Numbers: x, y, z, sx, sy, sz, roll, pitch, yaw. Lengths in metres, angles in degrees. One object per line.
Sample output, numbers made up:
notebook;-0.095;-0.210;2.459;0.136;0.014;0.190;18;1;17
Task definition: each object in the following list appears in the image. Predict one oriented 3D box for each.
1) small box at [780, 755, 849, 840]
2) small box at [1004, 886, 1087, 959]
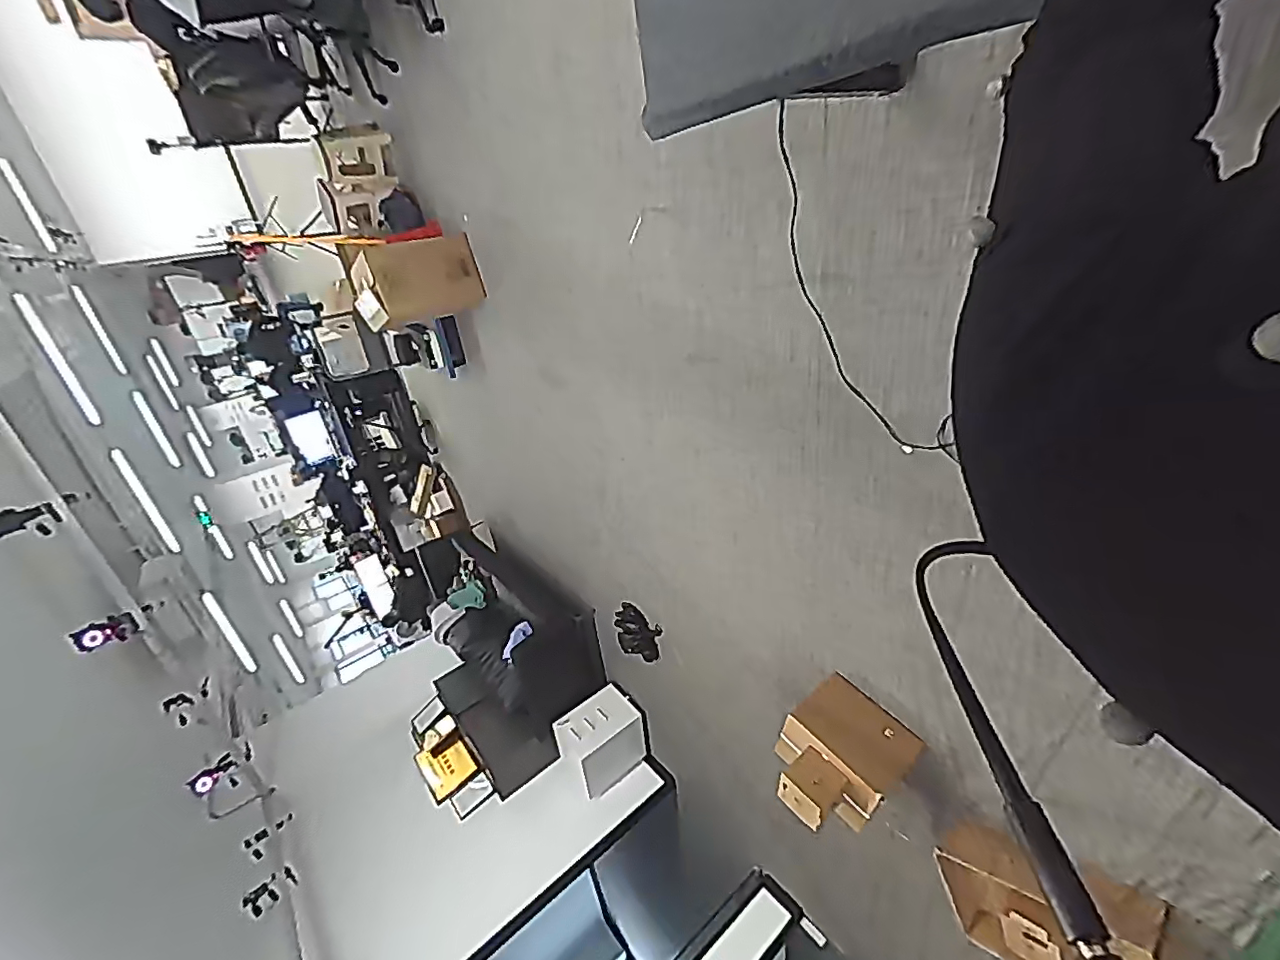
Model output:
small box;0.646;1.169;2.002;0.179;0.176;0.168;31;135;42
small box;1.307;1.472;1.740;0.168;0.176;0.179;2;115;55
